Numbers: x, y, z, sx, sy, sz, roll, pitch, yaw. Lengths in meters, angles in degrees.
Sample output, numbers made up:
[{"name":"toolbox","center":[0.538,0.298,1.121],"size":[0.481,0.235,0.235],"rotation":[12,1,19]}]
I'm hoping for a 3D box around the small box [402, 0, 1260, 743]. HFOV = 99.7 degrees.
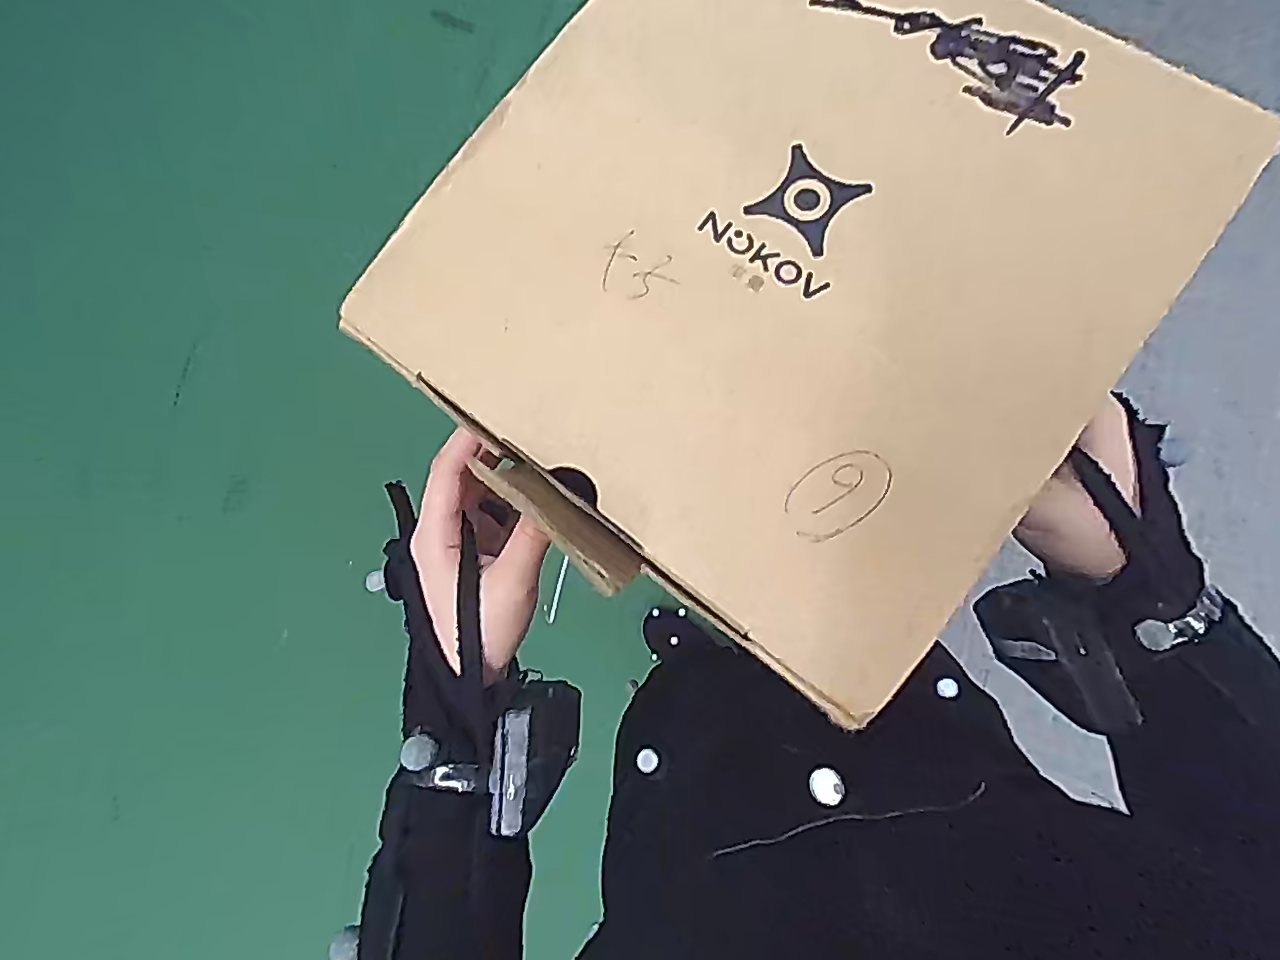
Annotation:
[{"name":"small box","center":[0.053,-0.037,0.226],"size":[0.168,0.176,0.179],"rotation":[38,86,10]}]
